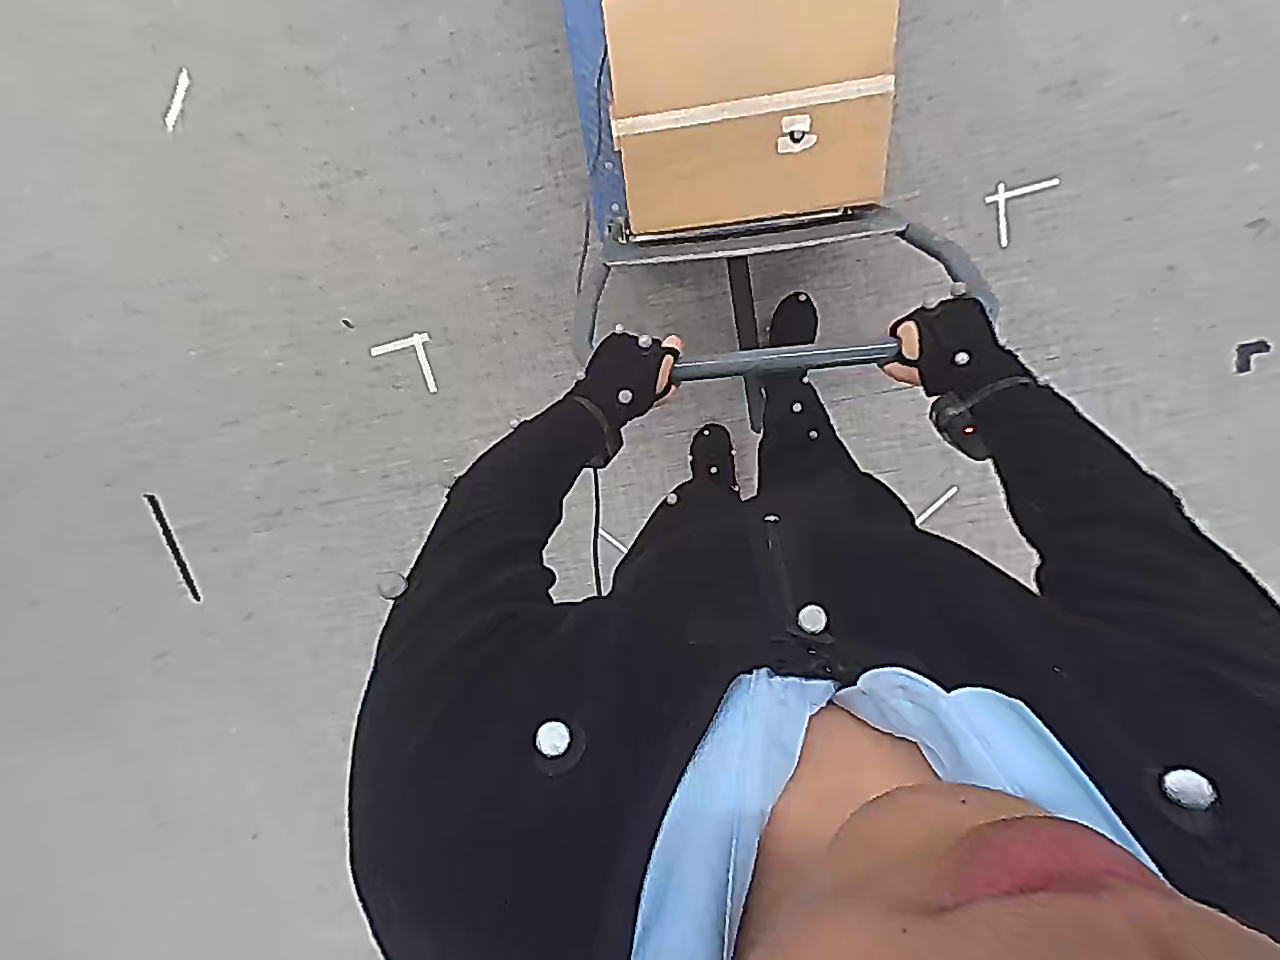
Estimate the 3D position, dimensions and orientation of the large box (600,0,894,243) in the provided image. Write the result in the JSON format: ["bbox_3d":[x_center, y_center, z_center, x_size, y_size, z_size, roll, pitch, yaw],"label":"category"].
[{"bbox_3d":[0.167,-0.622,0.927,0.408,0.320,0.320,-5,123,7],"label":"large box"}]
